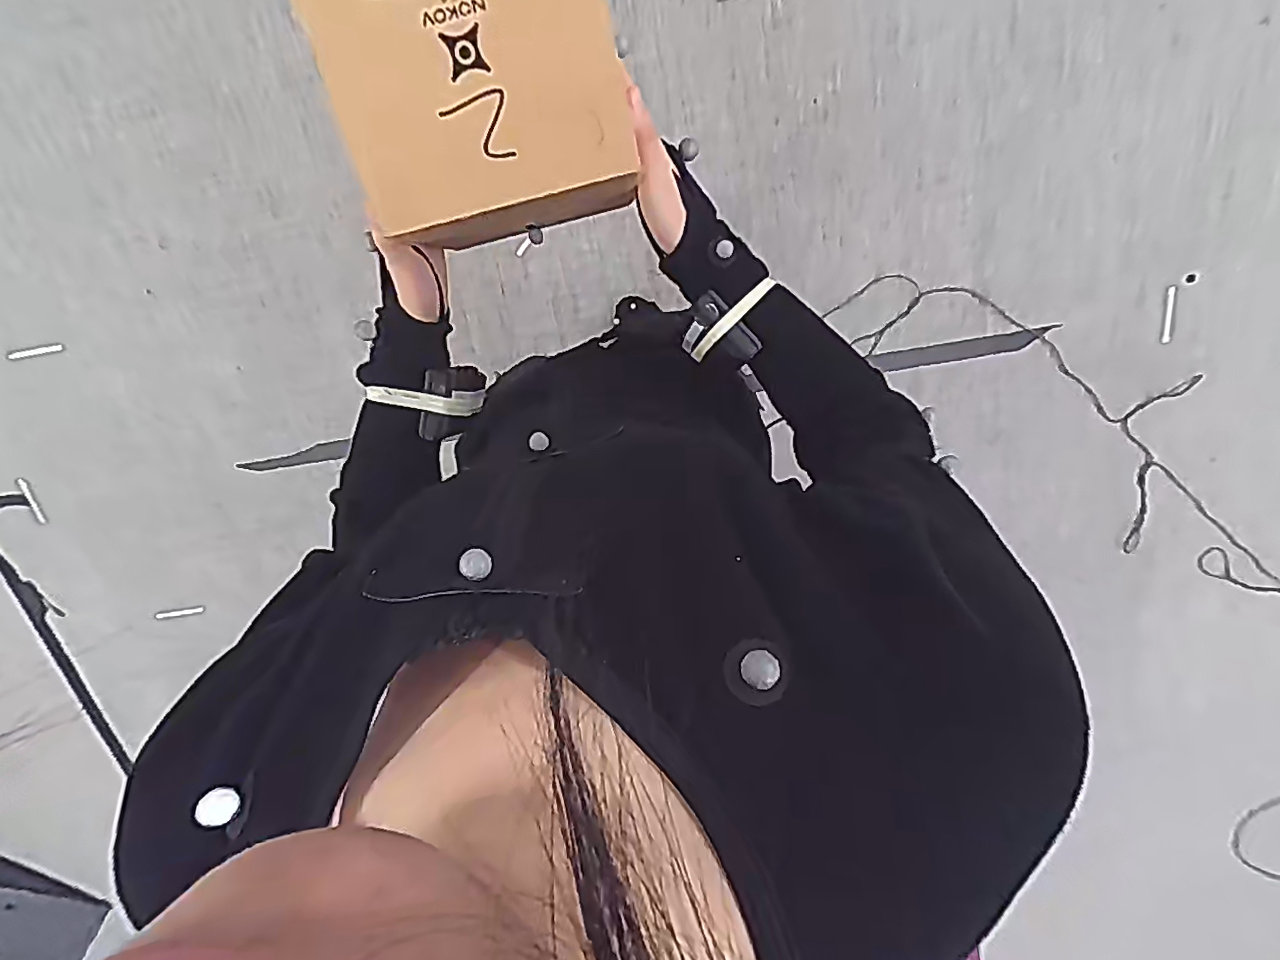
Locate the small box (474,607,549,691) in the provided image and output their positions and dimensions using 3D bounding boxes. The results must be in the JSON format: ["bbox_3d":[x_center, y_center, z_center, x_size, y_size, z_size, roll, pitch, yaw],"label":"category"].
[{"bbox_3d":[-0.372,0.487,1.583,0.179,0.176,0.168,6,107,-3],"label":"small box"}]
